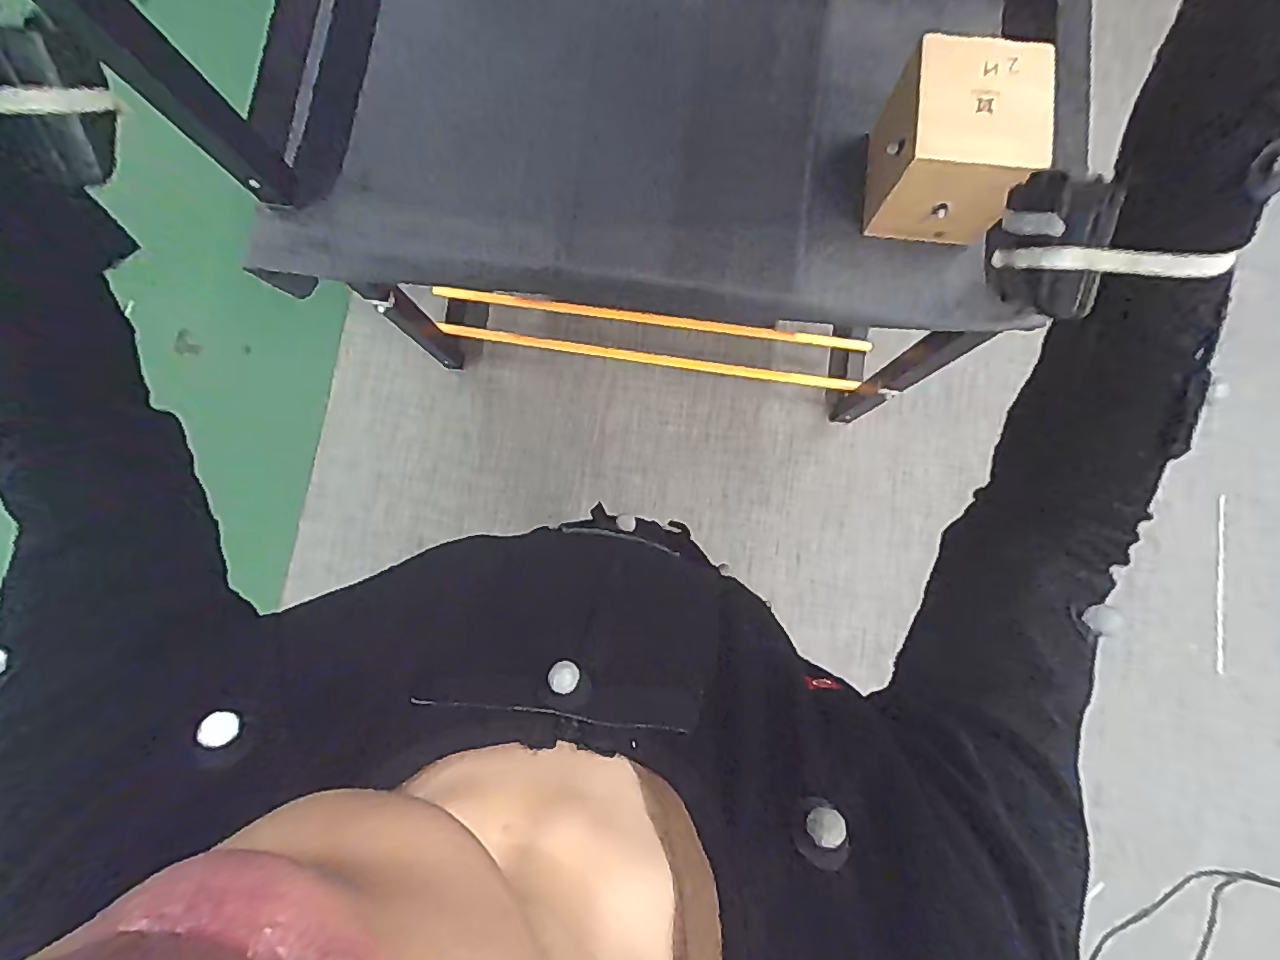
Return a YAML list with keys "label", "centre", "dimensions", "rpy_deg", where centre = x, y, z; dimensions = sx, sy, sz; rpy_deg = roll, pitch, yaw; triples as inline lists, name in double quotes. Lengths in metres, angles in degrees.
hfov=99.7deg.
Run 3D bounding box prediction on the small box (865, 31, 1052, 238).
- label: "small box"
  centre: [0.426, -0.463, 0.749]
  dimensions: [0.168, 0.176, 0.179]
  rpy_deg: [6, 83, 2]
